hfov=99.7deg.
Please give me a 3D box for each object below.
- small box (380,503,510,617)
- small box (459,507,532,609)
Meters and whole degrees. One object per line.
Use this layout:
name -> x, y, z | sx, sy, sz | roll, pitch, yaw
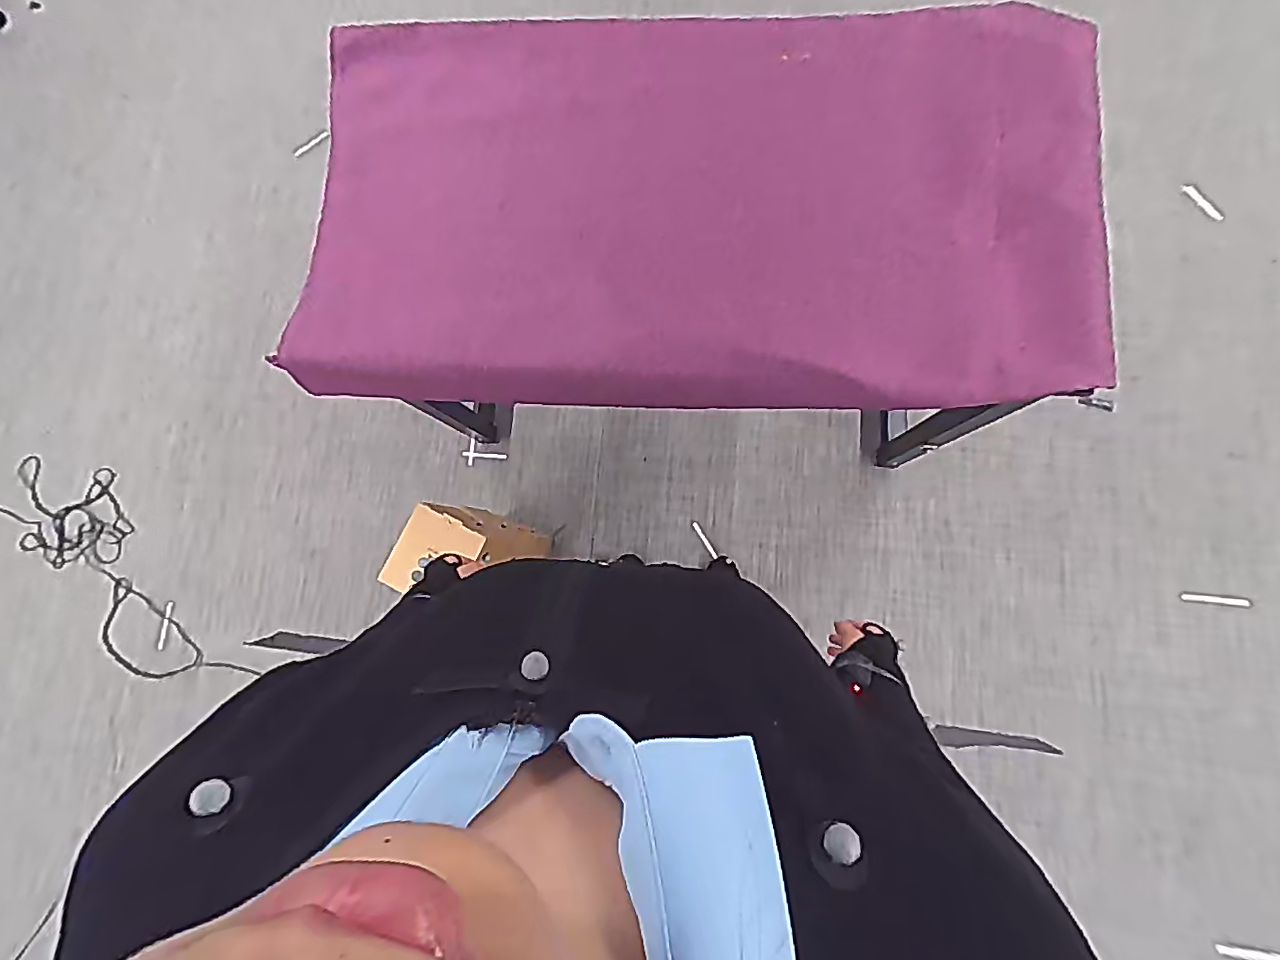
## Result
small box -> -0.399, 0.168, 1.140 | 0.168, 0.176, 0.179 | 25, 85, 8
small box -> -0.380, 0.185, 1.301 | 0.168, 0.176, 0.179 | 32, 87, 9
